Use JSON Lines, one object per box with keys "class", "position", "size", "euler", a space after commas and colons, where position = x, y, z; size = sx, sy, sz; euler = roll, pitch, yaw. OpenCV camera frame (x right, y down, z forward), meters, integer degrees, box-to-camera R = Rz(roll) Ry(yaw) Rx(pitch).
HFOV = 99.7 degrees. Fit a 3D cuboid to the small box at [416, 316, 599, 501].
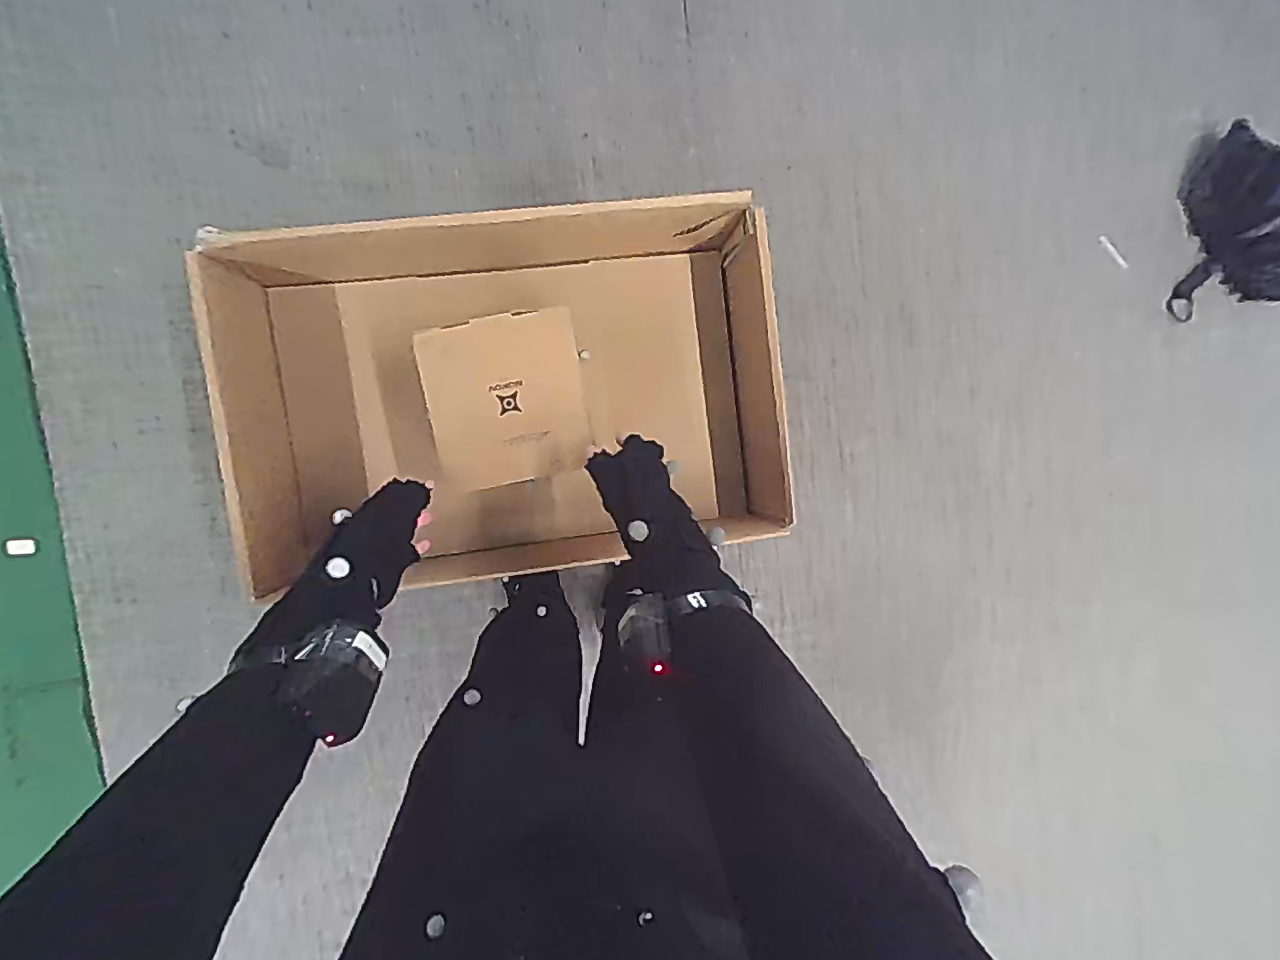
{"class": "small box", "position": [-0.148, -0.079, 0.653], "size": [0.168, 0.176, 0.179], "euler": [-12, 94, -5]}
